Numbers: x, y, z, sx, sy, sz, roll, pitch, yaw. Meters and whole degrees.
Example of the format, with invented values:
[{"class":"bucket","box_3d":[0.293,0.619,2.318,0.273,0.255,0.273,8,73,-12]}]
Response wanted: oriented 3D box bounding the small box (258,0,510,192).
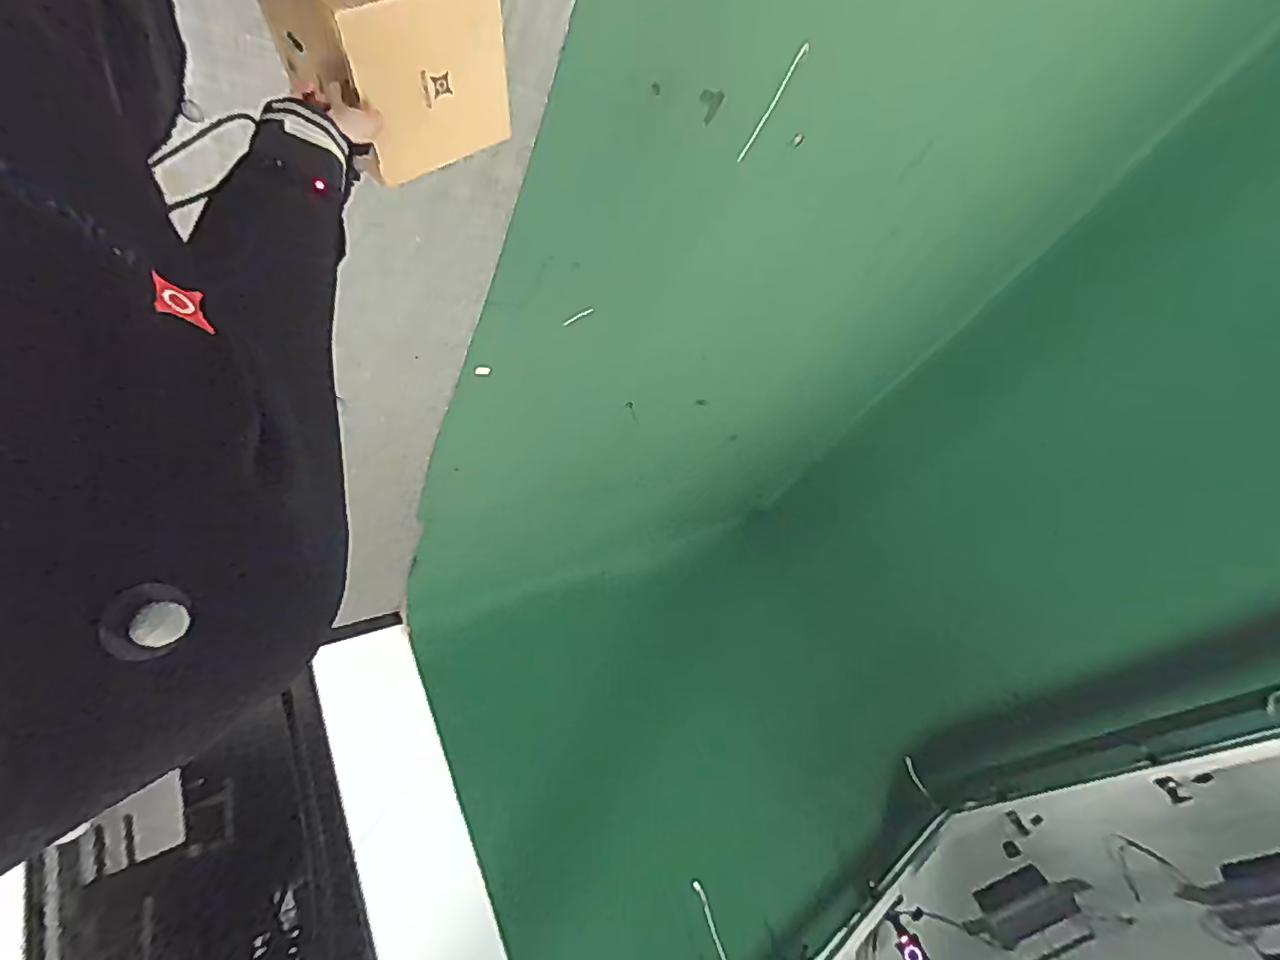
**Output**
[{"class":"small box","box_3d":[-0.264,-0.456,0.573,0.179,0.176,0.168,-39,166,-23]}]
